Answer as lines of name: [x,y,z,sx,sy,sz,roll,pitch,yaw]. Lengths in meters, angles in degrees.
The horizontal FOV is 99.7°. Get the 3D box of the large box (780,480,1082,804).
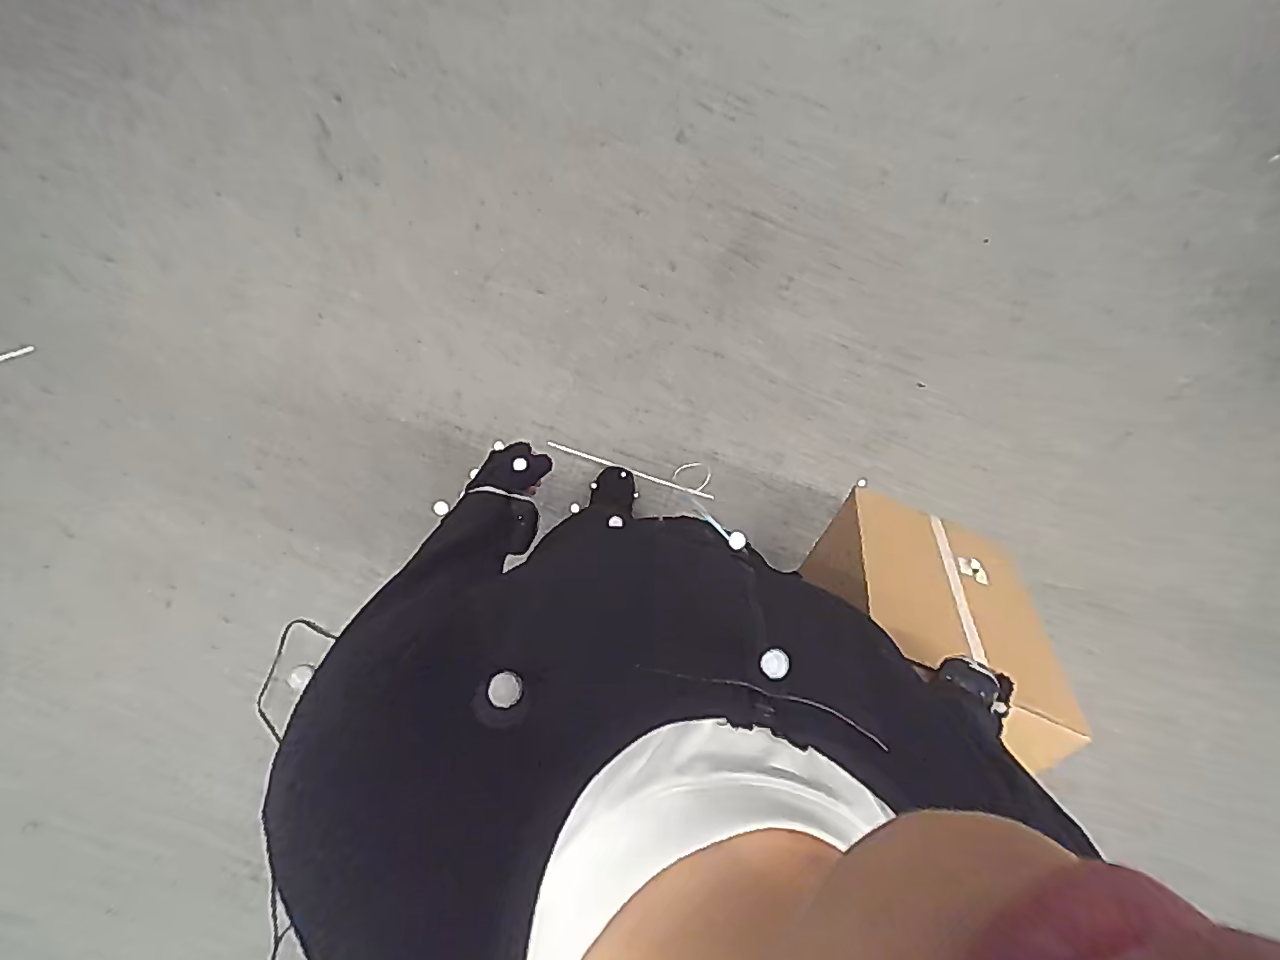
large box: [0.464,0.275,0.978,0.320,0.408,0.320,23,127,2]
